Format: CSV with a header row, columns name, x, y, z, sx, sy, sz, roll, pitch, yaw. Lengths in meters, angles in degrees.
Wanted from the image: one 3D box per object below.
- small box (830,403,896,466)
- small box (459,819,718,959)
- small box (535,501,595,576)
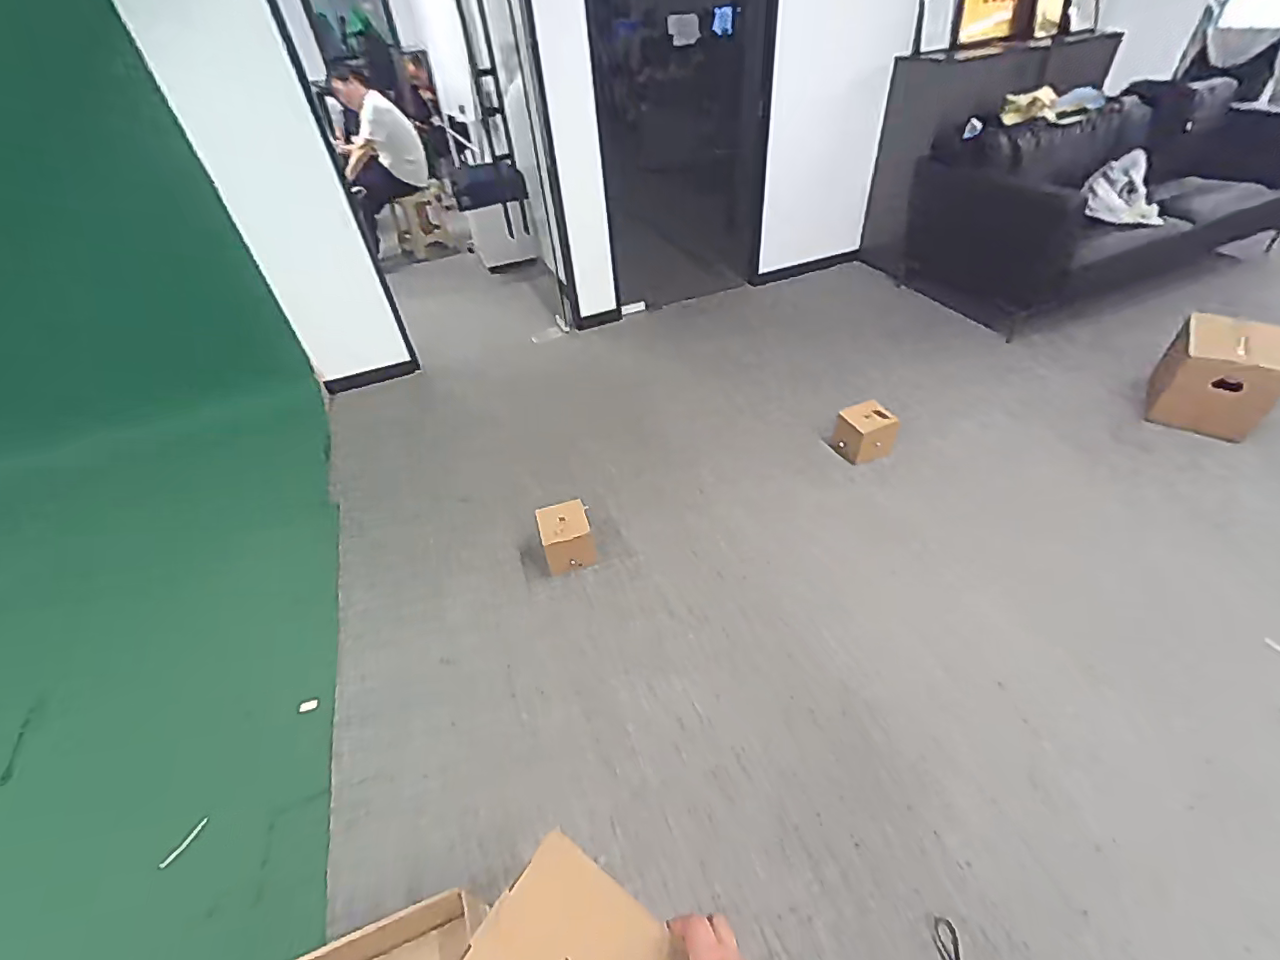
name,x,y,z,sx,sy,sz,roll,pitch,yaw
small box,0.905,-0.184,2.211,0.179,0.176,0.168,-18,44,-13
small box,-0.052,0.455,0.486,0.179,0.176,0.168,26,52,23
small box,-0.263,0.204,1.893,0.168,0.176,0.179,-15,43,-10
